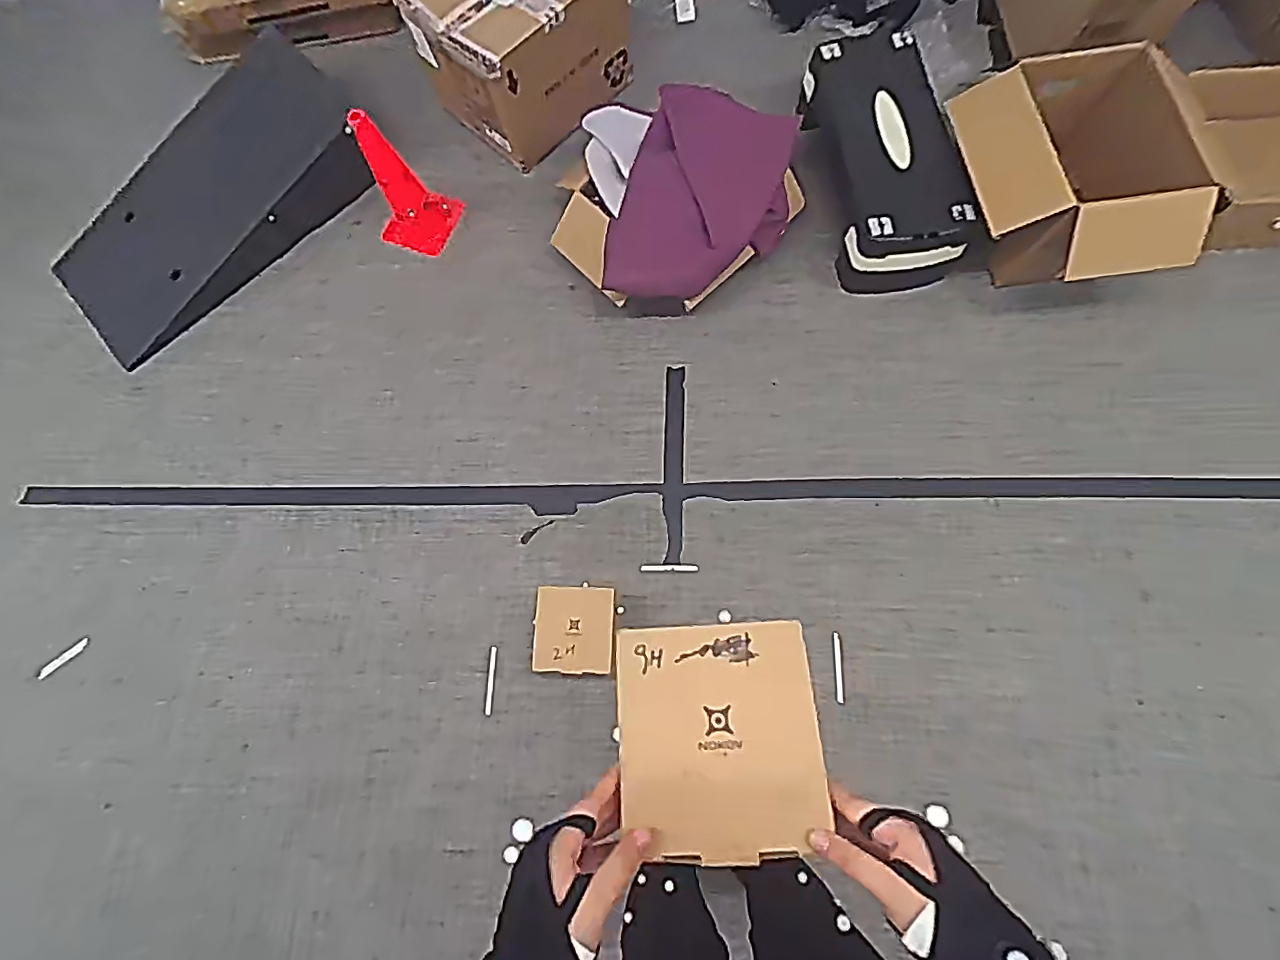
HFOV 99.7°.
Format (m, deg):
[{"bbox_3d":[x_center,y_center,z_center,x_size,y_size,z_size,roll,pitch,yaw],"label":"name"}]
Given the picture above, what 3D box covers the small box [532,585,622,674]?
[{"bbox_3d":[-0.132,0.331,1.204,0.168,0.176,0.179,1,75,5],"label":"small box"}]
